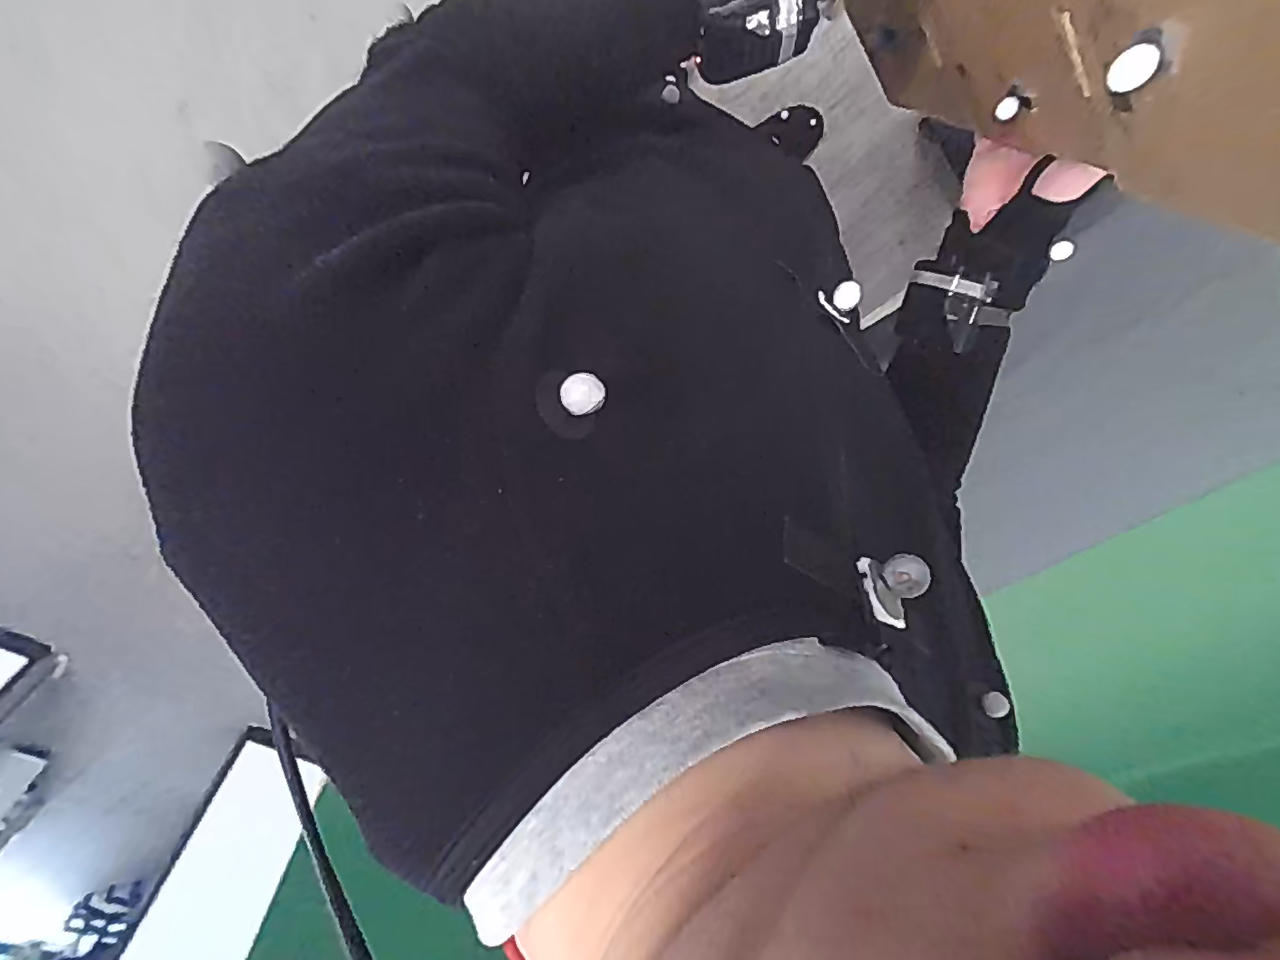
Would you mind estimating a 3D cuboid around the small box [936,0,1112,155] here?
[{"bbox_3d":[0.275,-0.306,0.282,0.179,0.176,0.168,-38,123,25],"label":"small box"}]

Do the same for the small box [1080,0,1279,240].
[{"bbox_3d":[0.283,-0.195,0.161,0.179,0.176,0.168,-35,124,26],"label":"small box"}]

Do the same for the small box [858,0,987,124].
[{"bbox_3d":[0.271,-0.414,0.404,0.179,0.176,0.168,-36,124,25],"label":"small box"}]
